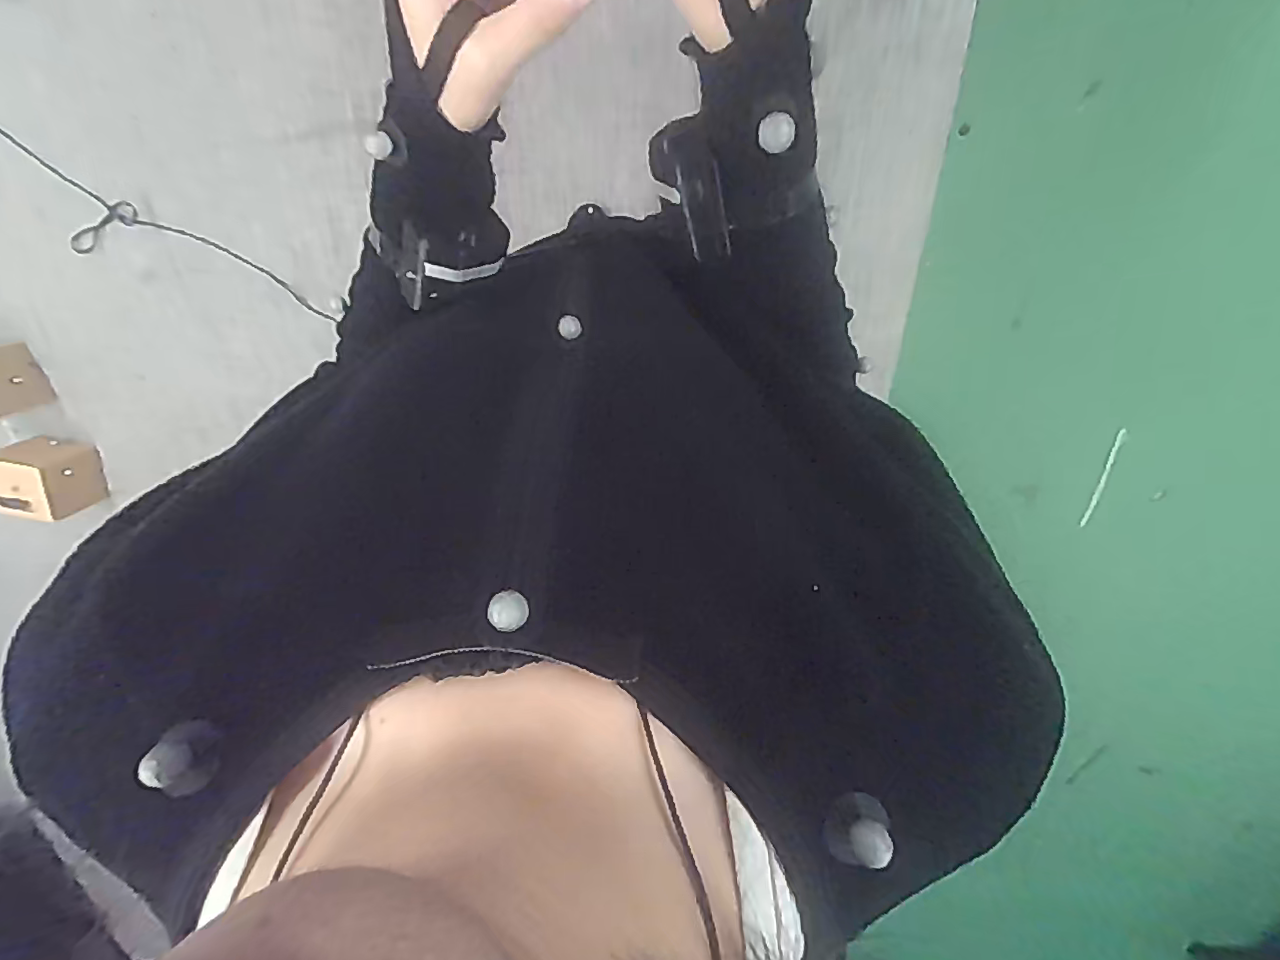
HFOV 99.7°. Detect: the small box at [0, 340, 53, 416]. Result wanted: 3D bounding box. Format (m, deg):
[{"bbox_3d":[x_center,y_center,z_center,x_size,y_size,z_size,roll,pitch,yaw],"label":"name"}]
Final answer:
[{"bbox_3d":[-1.721,-0.264,1.419,0.179,0.176,0.168,-5,115,4],"label":"small box"}]
